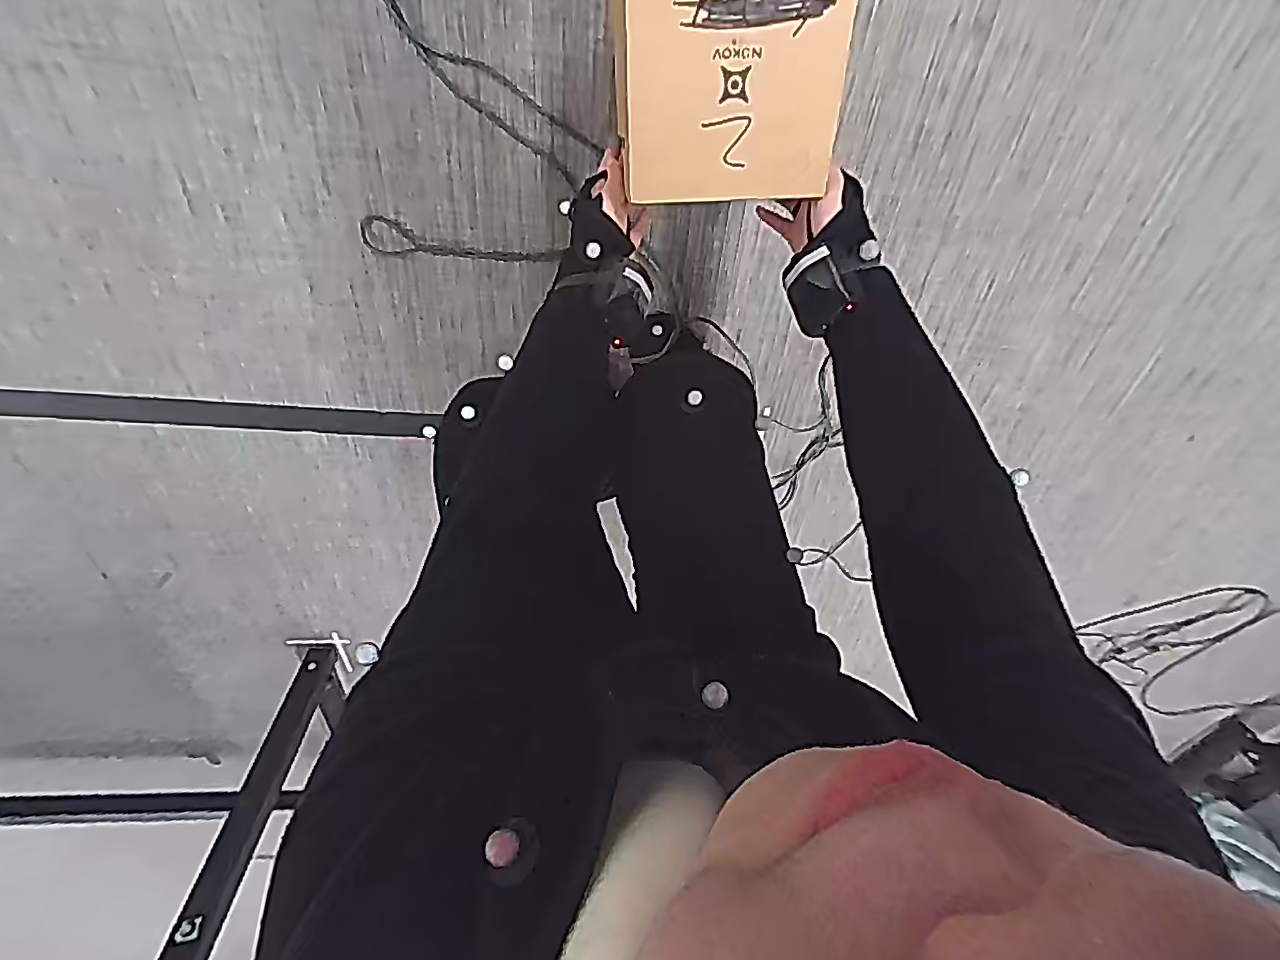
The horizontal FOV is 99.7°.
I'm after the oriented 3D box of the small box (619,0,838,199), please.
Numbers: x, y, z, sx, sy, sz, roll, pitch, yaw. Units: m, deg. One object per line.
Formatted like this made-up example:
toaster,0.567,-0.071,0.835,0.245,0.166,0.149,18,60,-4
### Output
small box,0.088,-0.409,0.572,0.168,0.176,0.179,-11,111,-20
